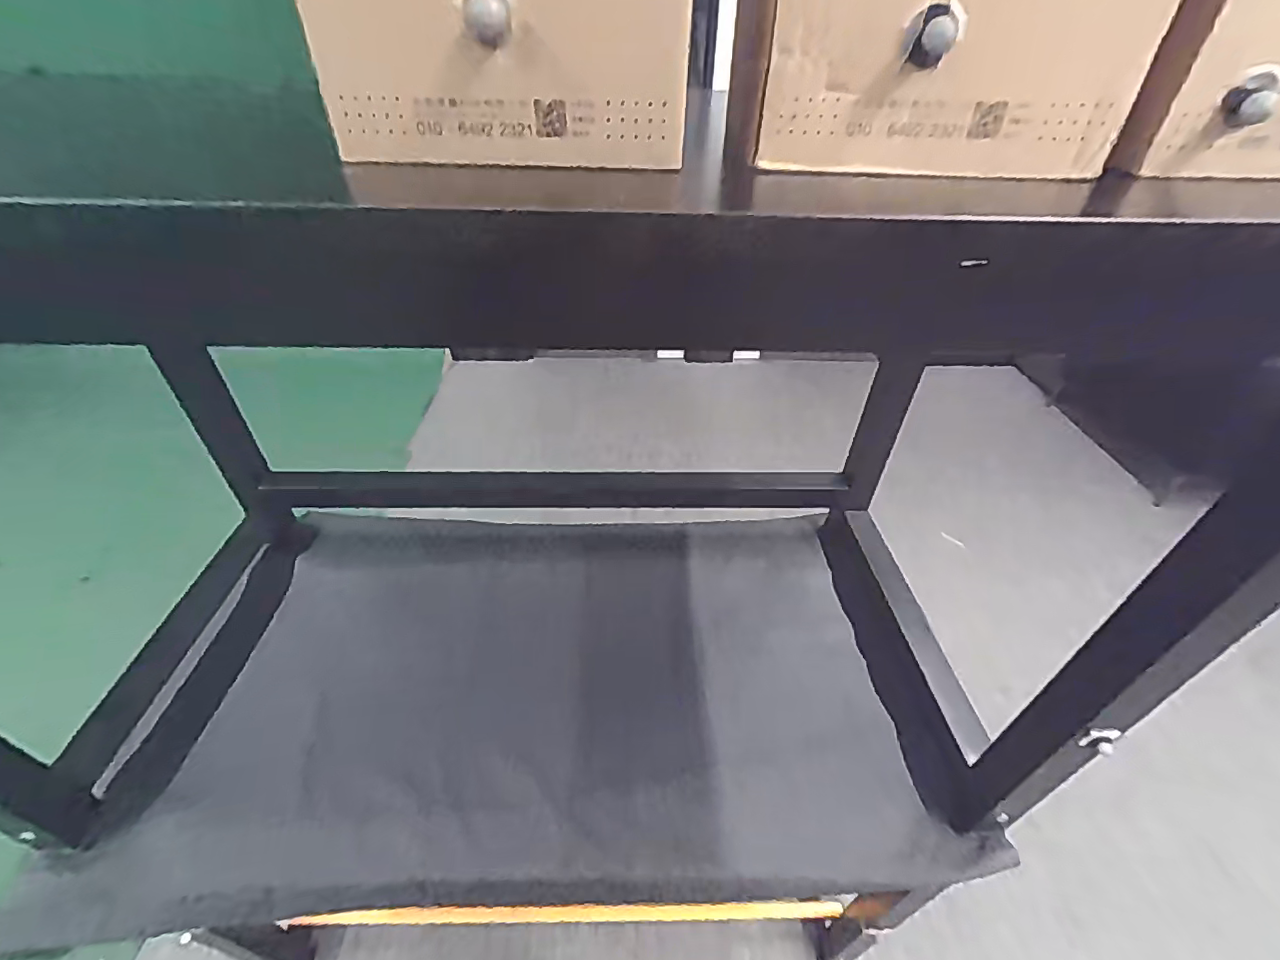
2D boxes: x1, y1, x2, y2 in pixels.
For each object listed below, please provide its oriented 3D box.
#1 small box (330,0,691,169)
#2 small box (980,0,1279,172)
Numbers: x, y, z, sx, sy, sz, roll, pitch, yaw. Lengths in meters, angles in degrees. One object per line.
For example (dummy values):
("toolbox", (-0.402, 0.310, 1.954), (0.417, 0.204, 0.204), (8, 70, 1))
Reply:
("small box", (-0.056, -0.276, 0.283), (0.168, 0.176, 0.179), (2, 39, 0))
("small box", (0.326, -0.269, 0.286), (0.168, 0.176, 0.179), (2, 38, 1))
